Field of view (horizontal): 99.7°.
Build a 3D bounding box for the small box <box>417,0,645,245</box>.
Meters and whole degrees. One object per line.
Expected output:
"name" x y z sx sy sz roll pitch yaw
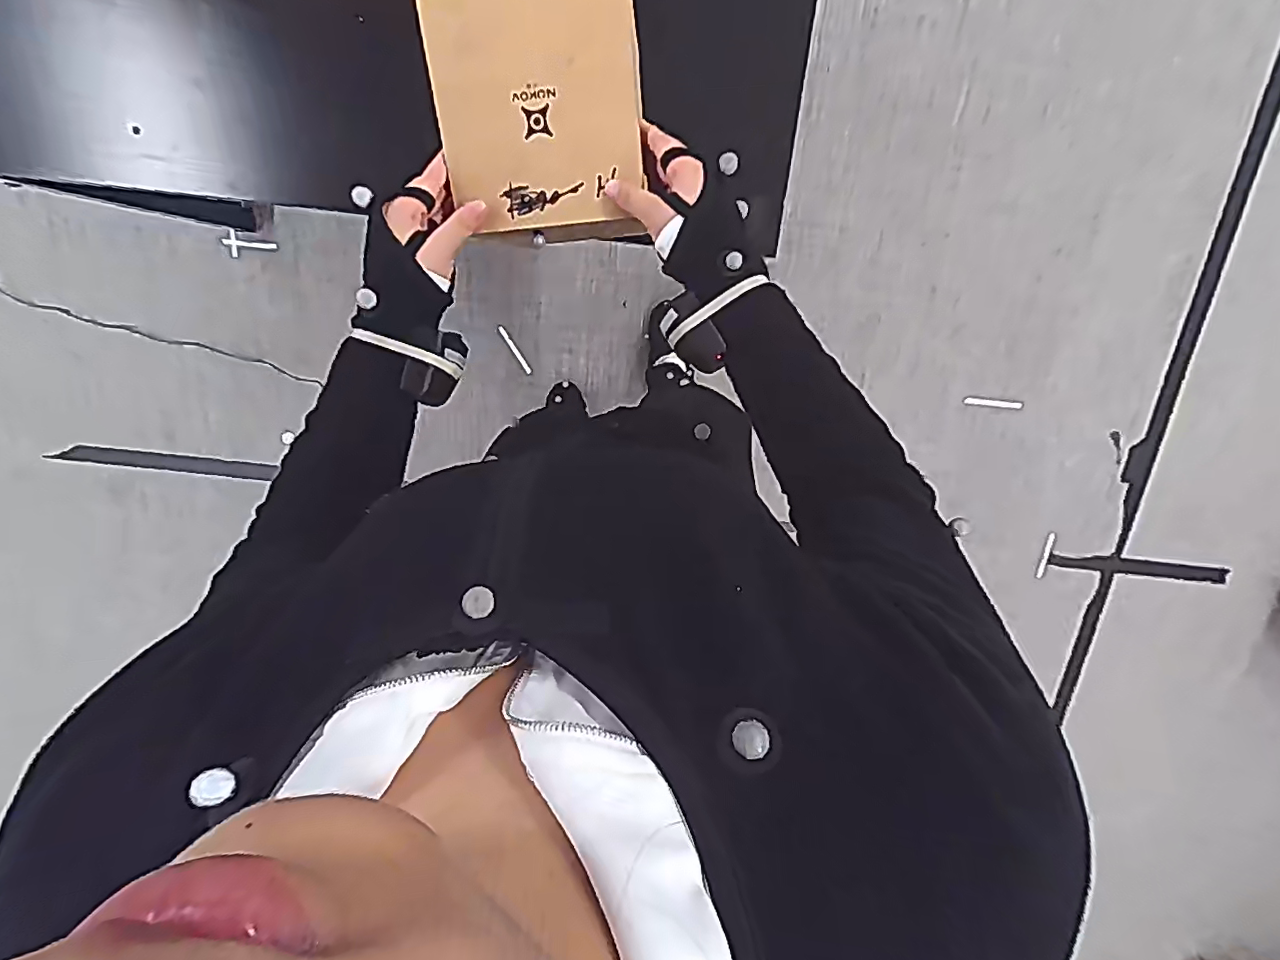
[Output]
"small box" -0.083 -0.329 0.514 0.168 0.176 0.179 -4 110 4
